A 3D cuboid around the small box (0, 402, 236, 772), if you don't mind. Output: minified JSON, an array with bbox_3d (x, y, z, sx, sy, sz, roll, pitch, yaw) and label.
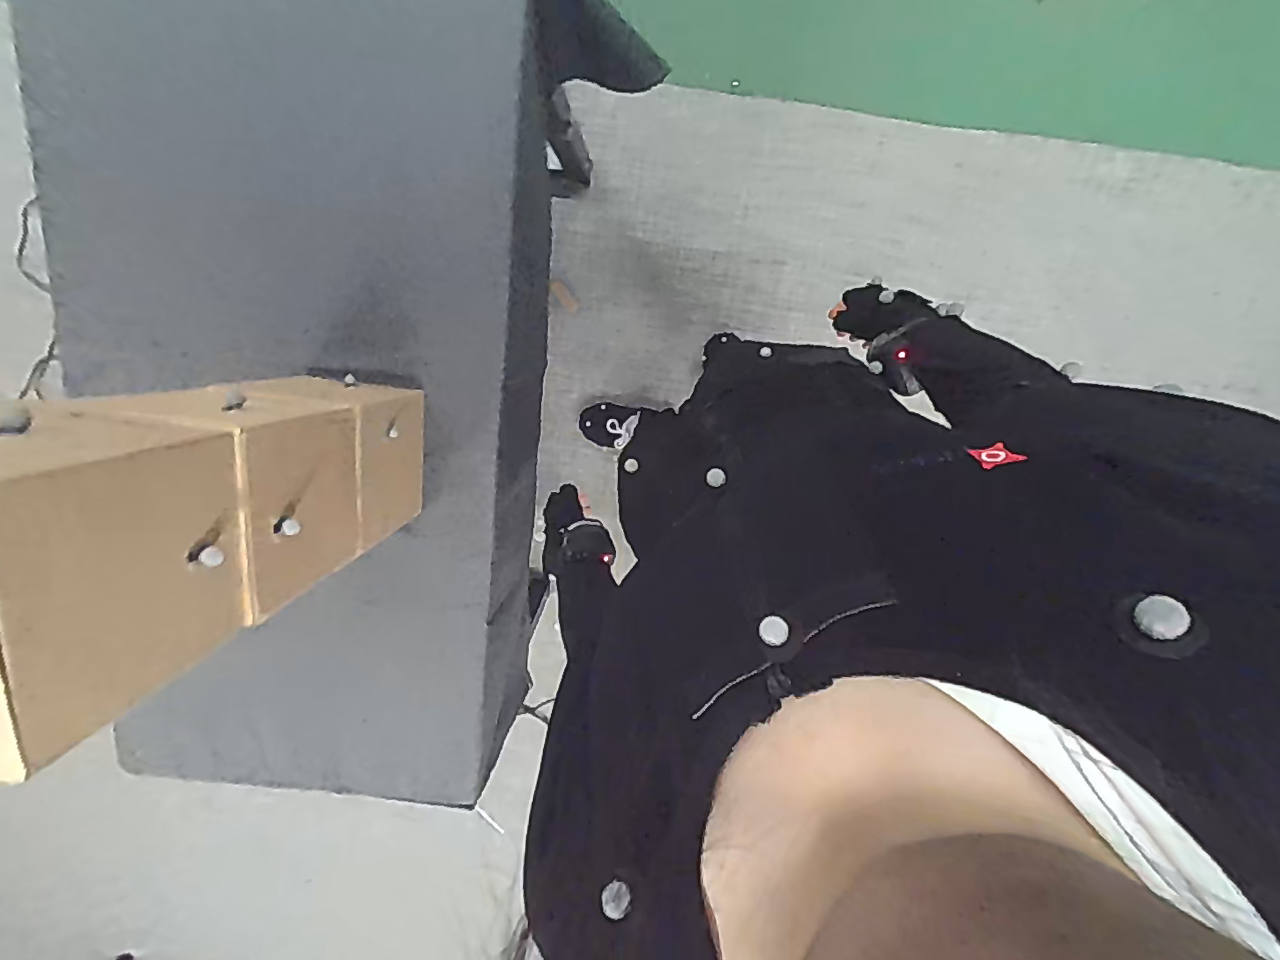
[{"bbox_3d":[-0.407,0.049,0.357,0.168,0.176,0.179,9,104,0],"label":"small box"}]

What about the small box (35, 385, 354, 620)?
[{"bbox_3d":[-0.397,0.007,0.516,0.168,0.176,0.179,7,104,0],"label":"small box"}]
